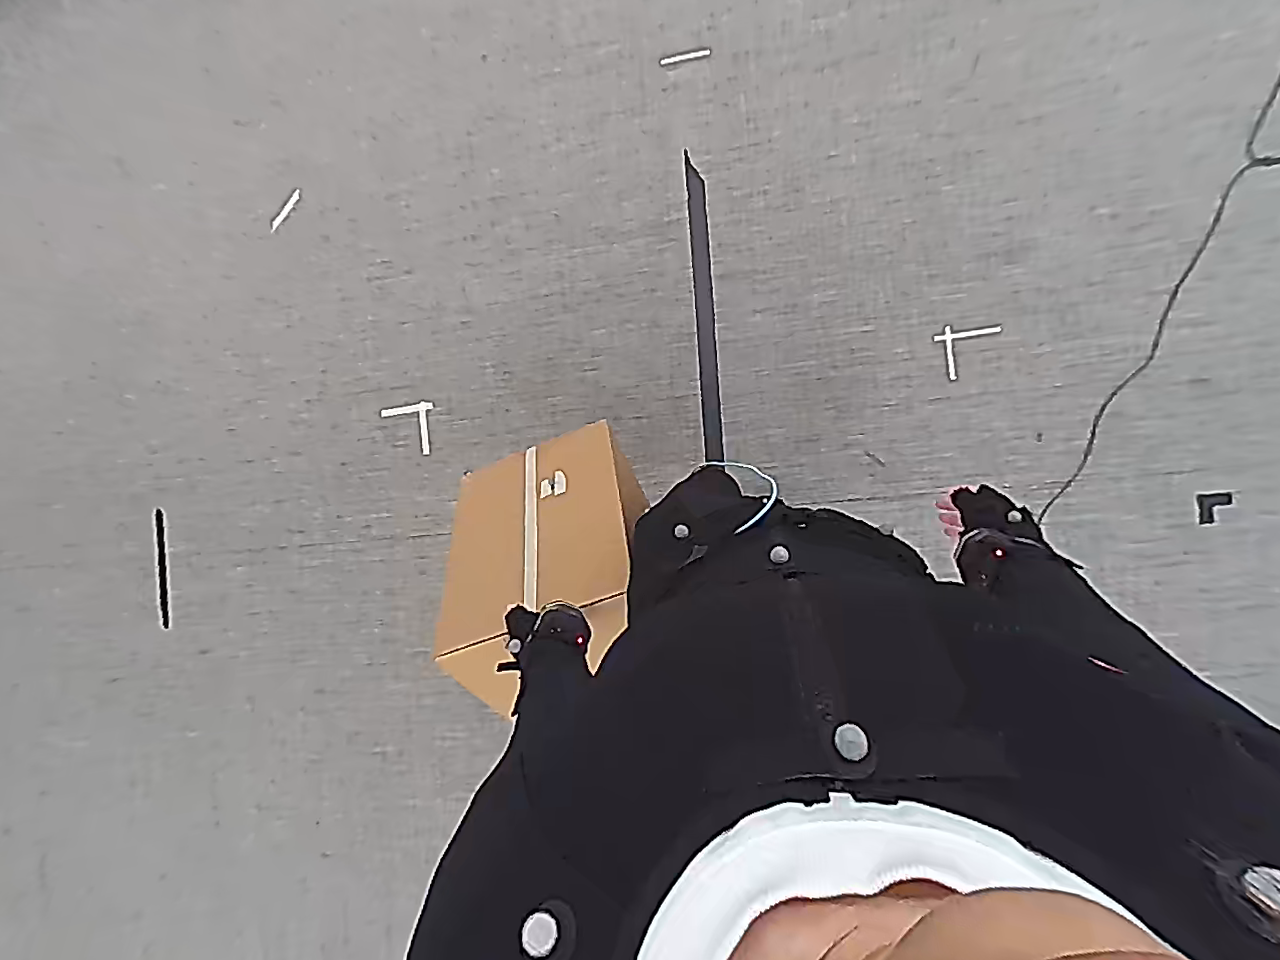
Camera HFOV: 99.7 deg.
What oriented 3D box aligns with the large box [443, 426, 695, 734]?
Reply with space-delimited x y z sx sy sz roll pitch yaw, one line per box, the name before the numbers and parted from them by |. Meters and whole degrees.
large box | -0.122 0.176 0.998 0.320 0.320 0.408 -20 41 6
